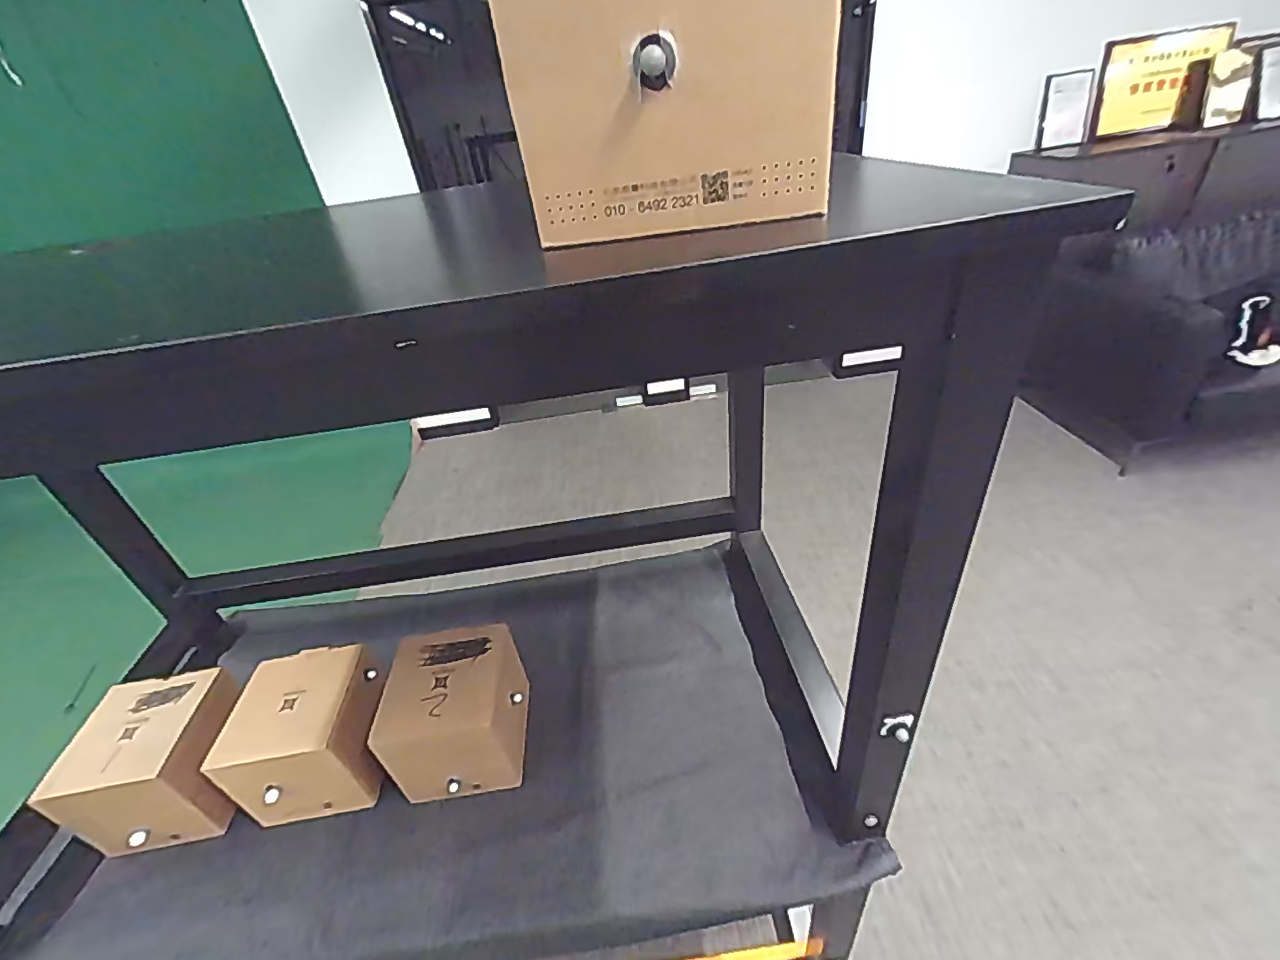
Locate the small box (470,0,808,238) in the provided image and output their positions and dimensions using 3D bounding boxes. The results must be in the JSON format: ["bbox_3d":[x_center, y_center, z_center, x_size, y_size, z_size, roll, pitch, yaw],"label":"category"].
[{"bbox_3d":[0.009,-0.257,0.334,0.168,0.176,0.179,-3,34,8],"label":"small box"}]

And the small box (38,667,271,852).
[{"bbox_3d":[-0.702,0.418,0.815,0.168,0.176,0.179,-10,35,-2],"label":"small box"}]
